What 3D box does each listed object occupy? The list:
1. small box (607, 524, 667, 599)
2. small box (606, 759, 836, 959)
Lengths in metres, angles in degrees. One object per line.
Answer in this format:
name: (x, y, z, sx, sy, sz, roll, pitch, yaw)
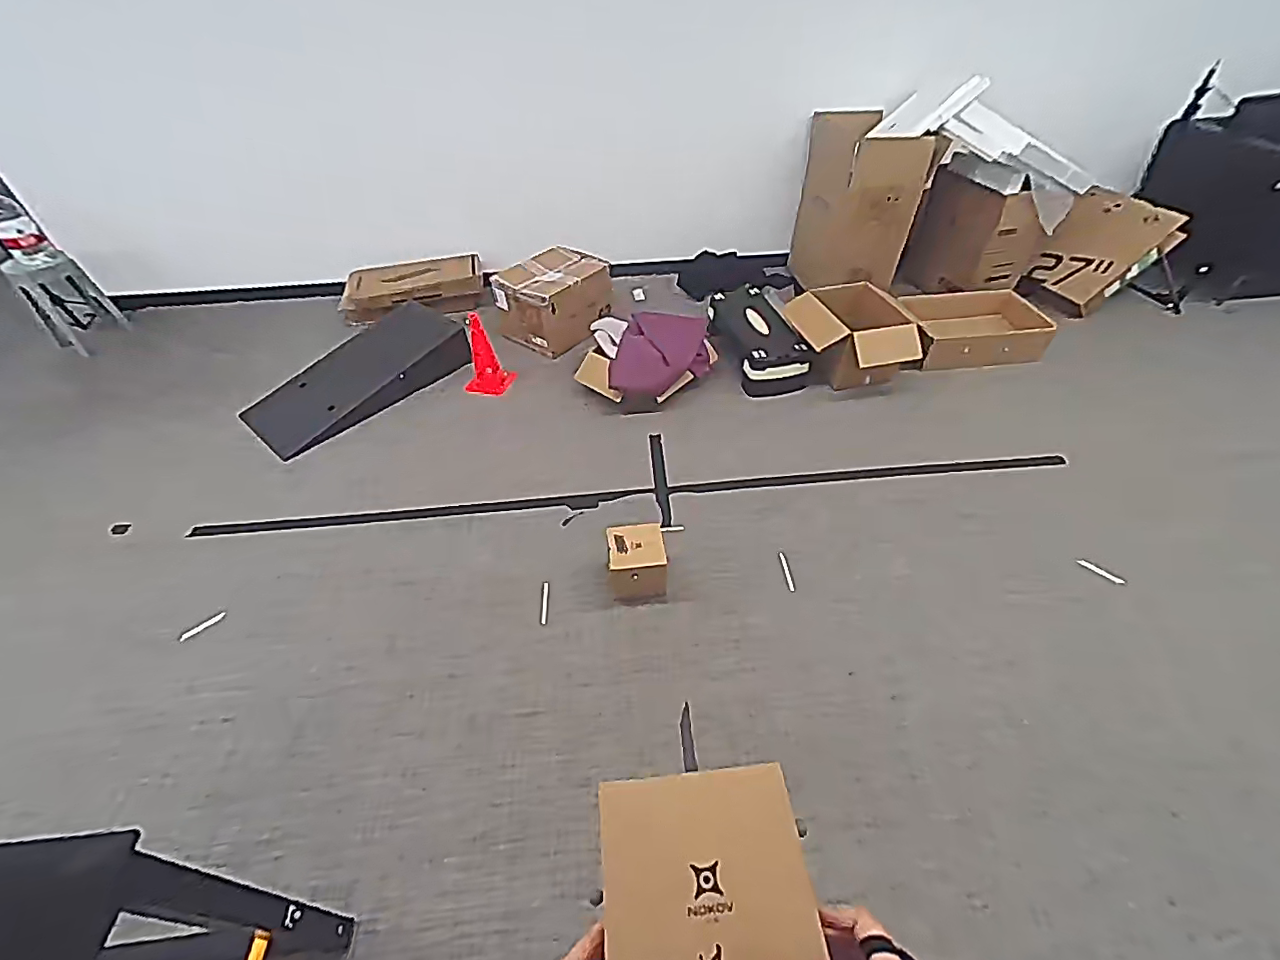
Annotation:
small box: (-0.008, 0.265, 1.735, 0.179, 0.176, 0.168, -6, 45, -4)
small box: (0.060, 0.373, 0.478, 0.168, 0.176, 0.179, -6, 47, -1)
